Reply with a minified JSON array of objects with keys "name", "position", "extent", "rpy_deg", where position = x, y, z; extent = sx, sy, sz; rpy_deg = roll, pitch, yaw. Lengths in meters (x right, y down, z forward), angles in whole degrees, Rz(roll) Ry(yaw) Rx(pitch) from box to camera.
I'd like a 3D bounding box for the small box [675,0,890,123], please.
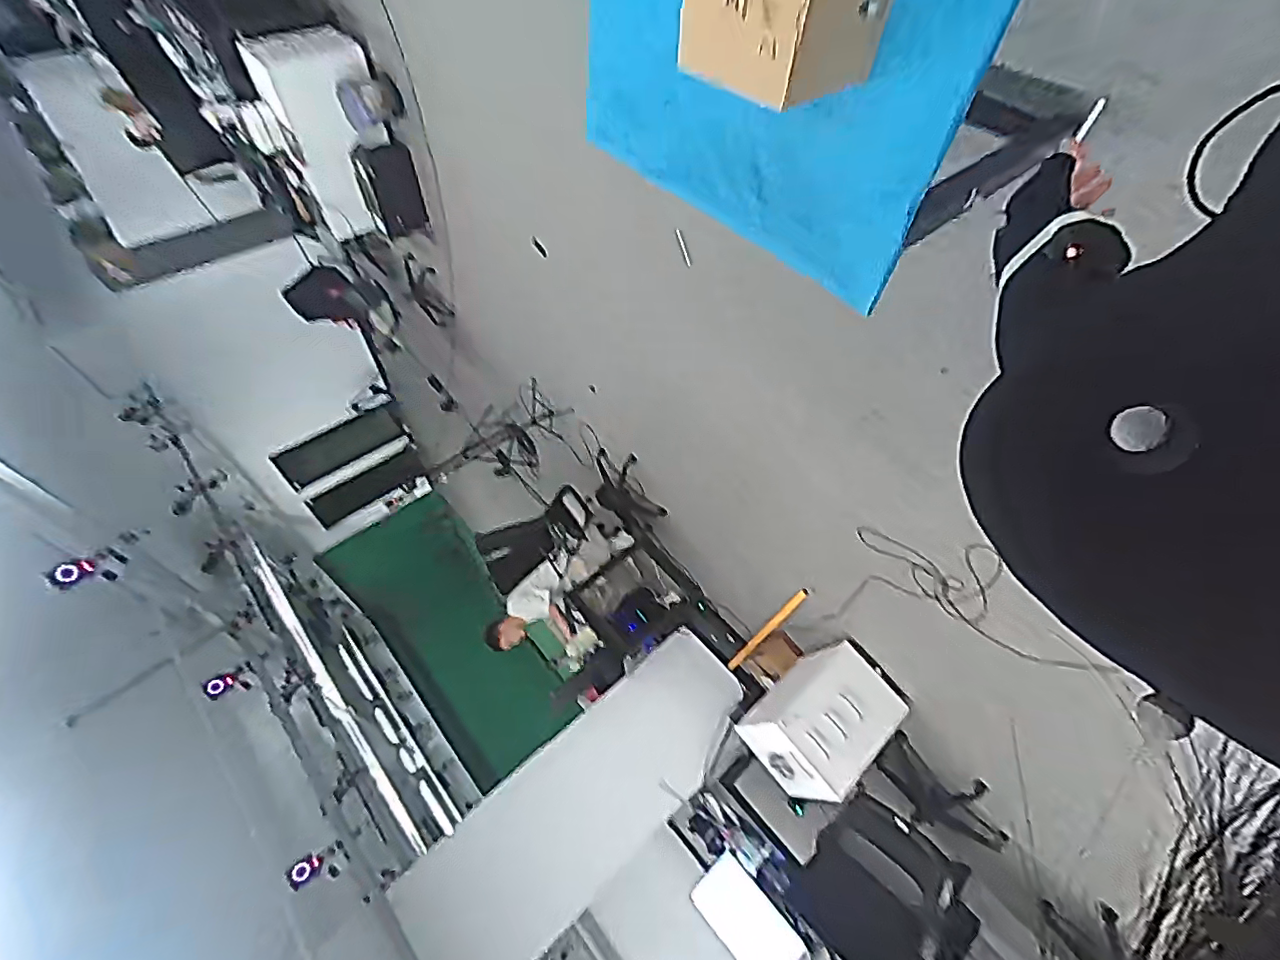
[{"name":"small box","position":[0.168,-0.555,0.625],"extent":[0.179,0.176,0.168],"rpy_deg":[43,153,21]}]
